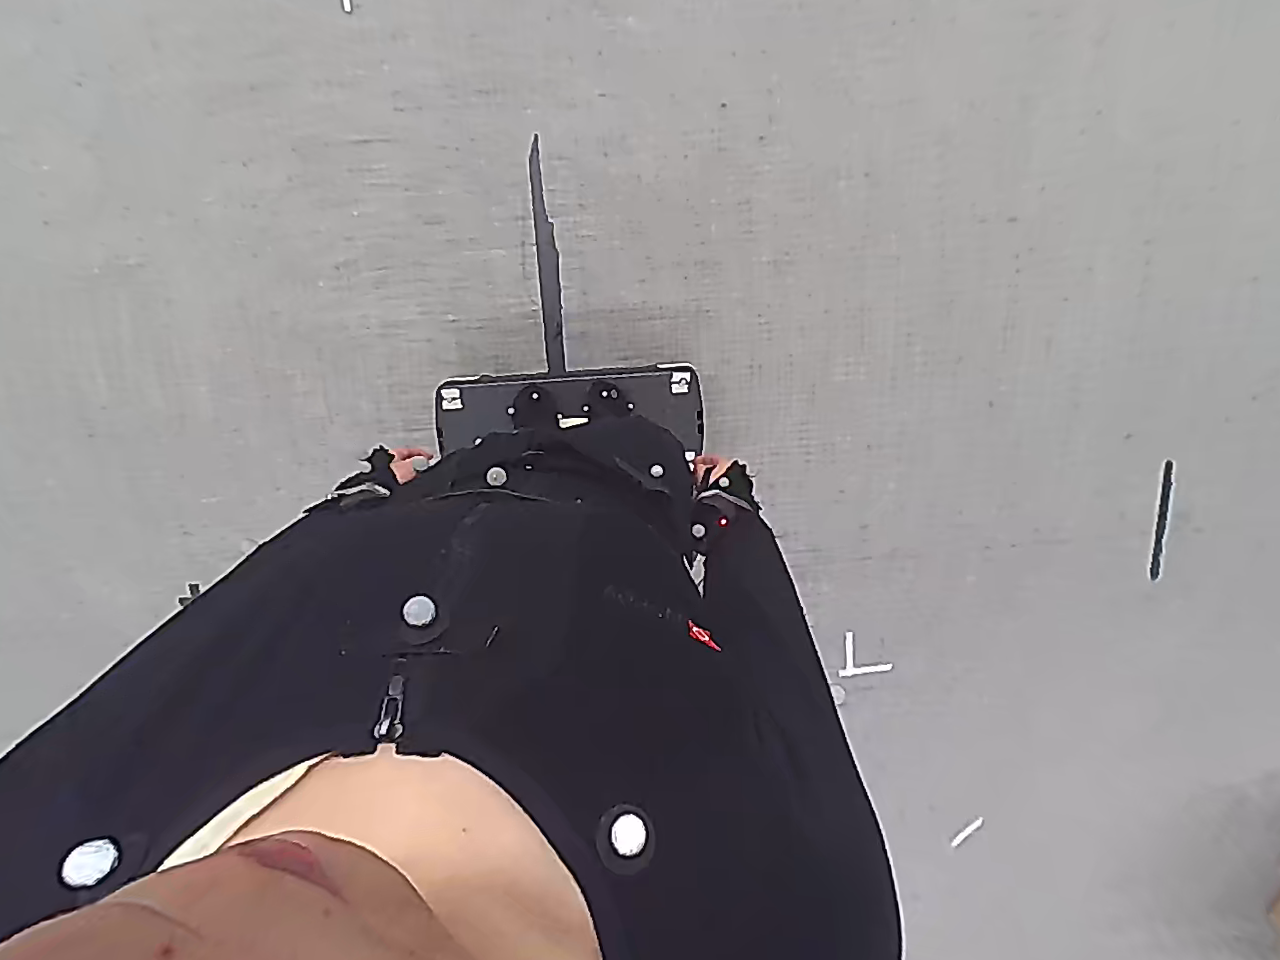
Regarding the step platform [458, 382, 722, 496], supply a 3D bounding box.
[{"bbox_3d":[-0.126,-0.112,1.440,0.684,0.204,0.286,0,102,-4],"label":"step platform"}]
